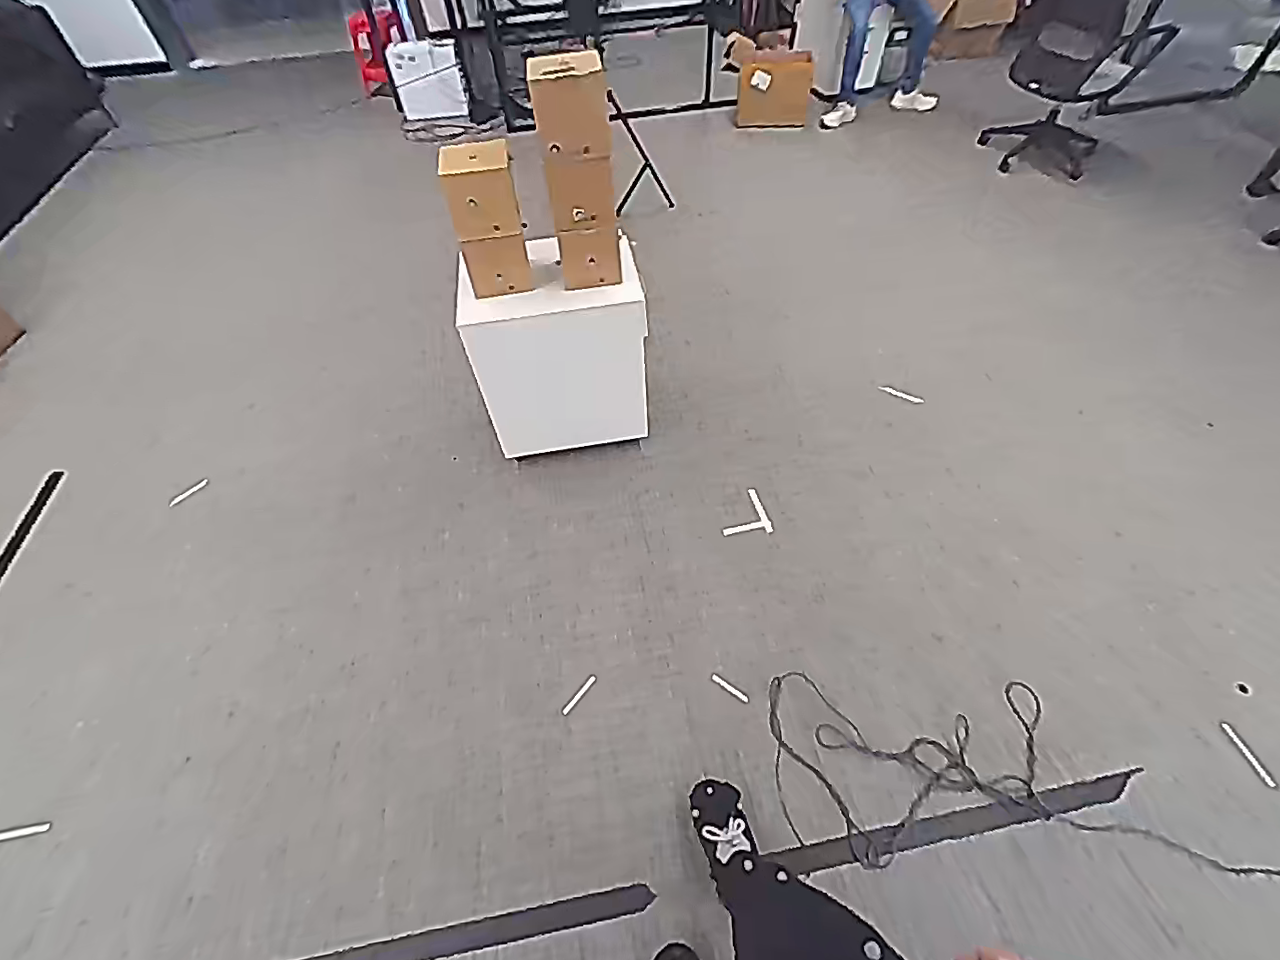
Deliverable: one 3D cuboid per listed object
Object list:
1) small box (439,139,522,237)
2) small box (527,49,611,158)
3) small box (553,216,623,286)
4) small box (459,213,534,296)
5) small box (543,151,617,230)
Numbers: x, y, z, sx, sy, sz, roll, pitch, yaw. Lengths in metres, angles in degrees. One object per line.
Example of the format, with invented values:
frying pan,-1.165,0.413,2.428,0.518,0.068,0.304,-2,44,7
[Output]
small box,-0.402,-0.737,1.379,0.168,0.176,0.179,-10,52,-6
small box,-0.162,-0.869,1.260,0.168,0.176,0.179,-8,51,-1
small box,-0.145,-0.663,1.515,0.168,0.176,0.179,-9,54,-2
small box,-0.399,-0.640,1.509,0.168,0.176,0.179,-11,53,-6
small box,-0.154,-0.770,1.391,0.168,0.176,0.179,-9,53,-2
